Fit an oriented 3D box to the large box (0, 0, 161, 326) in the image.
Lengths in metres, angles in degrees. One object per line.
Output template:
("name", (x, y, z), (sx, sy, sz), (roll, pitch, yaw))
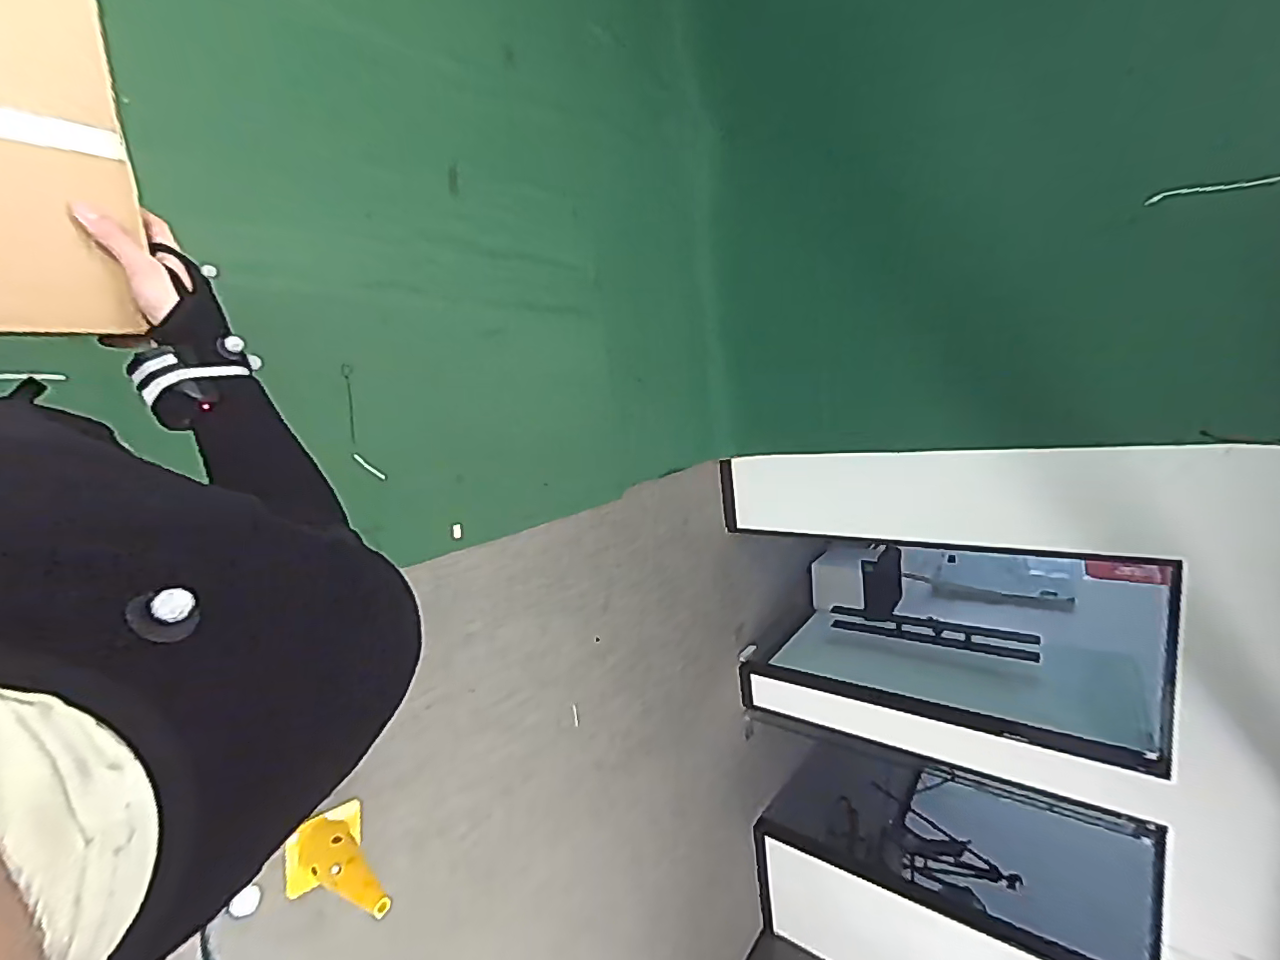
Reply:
("large box", (-0.701, -0.282, 0.422), (0.408, 0.320, 0.320), (-18, 114, -49))
